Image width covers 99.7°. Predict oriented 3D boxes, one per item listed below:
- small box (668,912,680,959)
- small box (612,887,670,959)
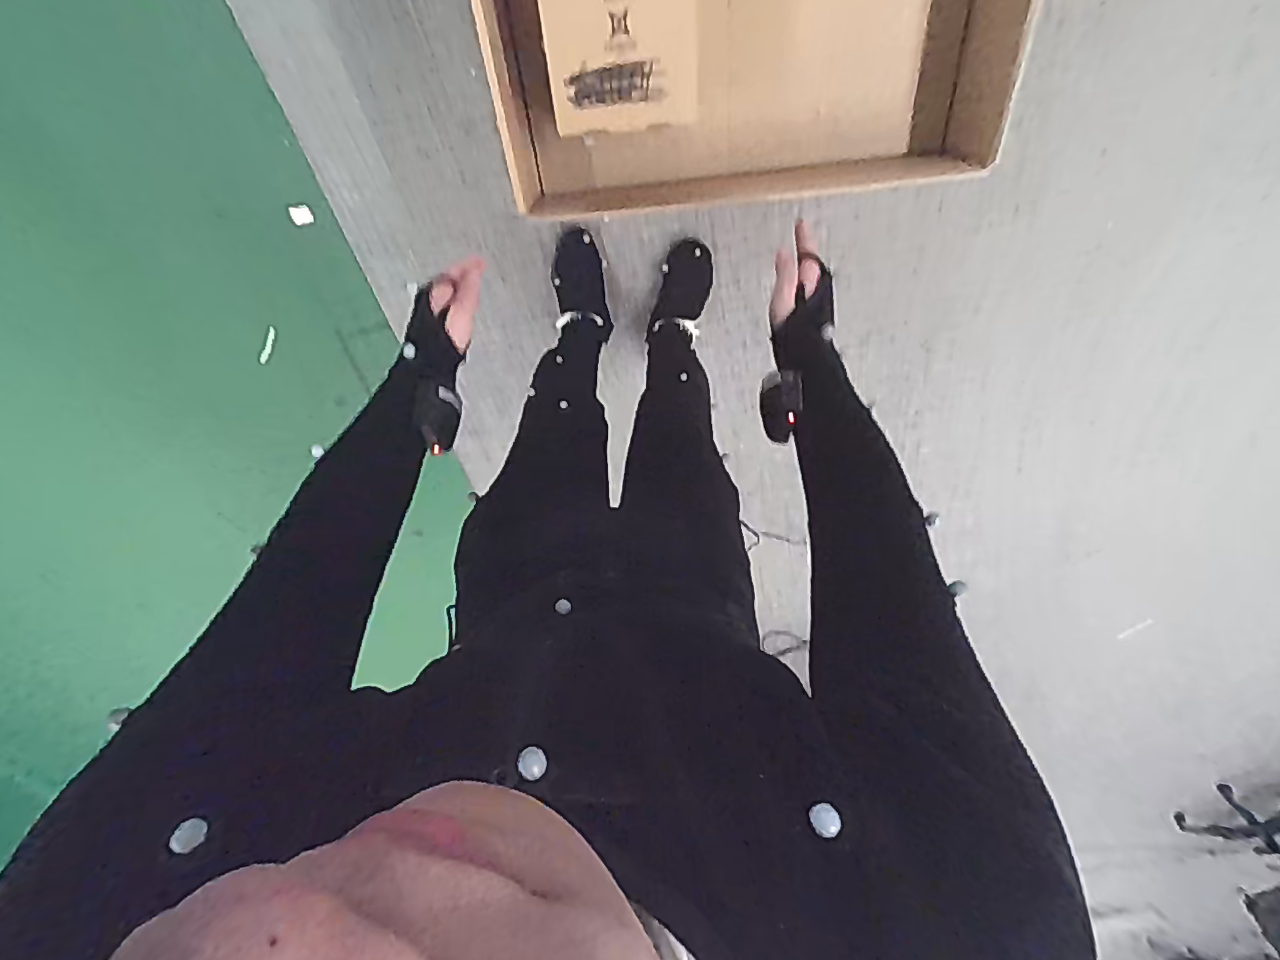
[{"bbox_3d":[0.060,1.757,2.038,0.168,0.176,0.179,-10,128,6],"label":"small box"},{"bbox_3d":[0.004,1.522,1.850,0.168,0.176,0.179,-12,127,7],"label":"small box"}]
